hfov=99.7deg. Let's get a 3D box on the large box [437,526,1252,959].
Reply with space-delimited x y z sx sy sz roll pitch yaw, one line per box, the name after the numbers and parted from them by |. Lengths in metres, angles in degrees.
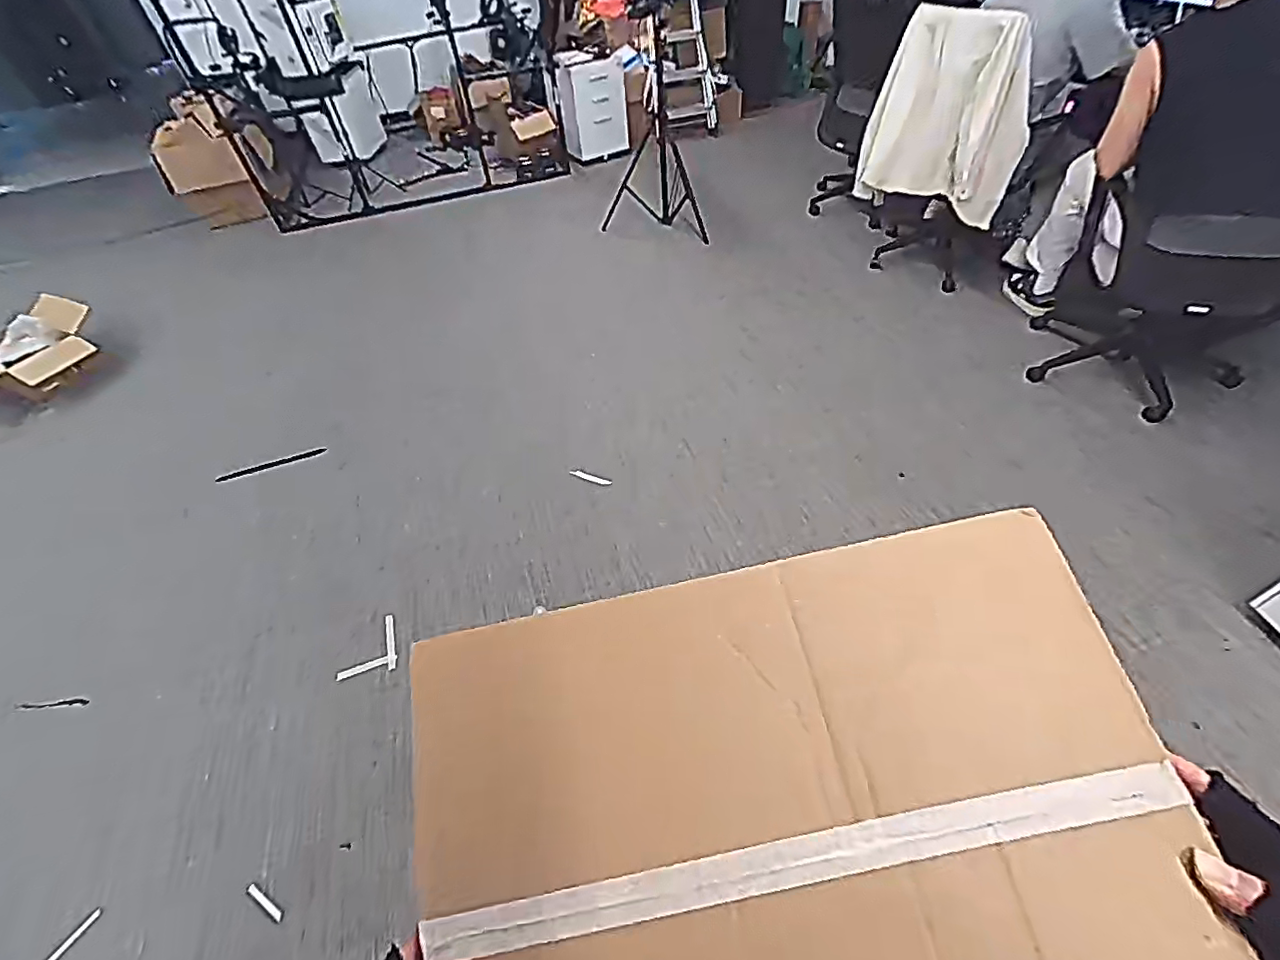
0.103 0.269 0.432 0.408 0.320 0.320 -13 68 1 | large box
